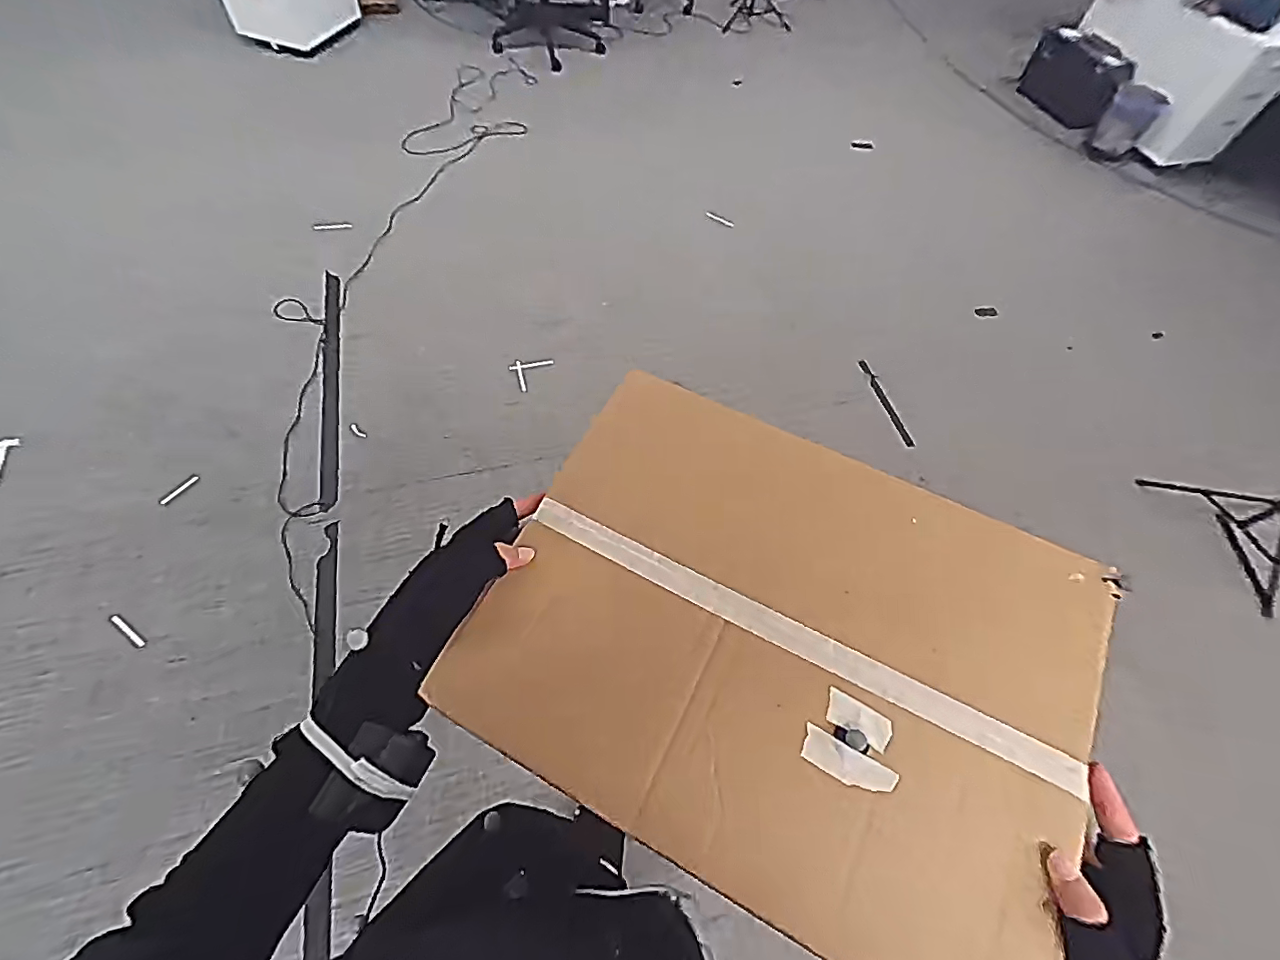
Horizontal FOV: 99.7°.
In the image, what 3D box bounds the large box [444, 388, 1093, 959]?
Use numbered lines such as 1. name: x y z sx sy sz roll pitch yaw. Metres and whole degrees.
1. large box: 0.103 0.179 0.531 0.408 0.320 0.320 26 67 13
